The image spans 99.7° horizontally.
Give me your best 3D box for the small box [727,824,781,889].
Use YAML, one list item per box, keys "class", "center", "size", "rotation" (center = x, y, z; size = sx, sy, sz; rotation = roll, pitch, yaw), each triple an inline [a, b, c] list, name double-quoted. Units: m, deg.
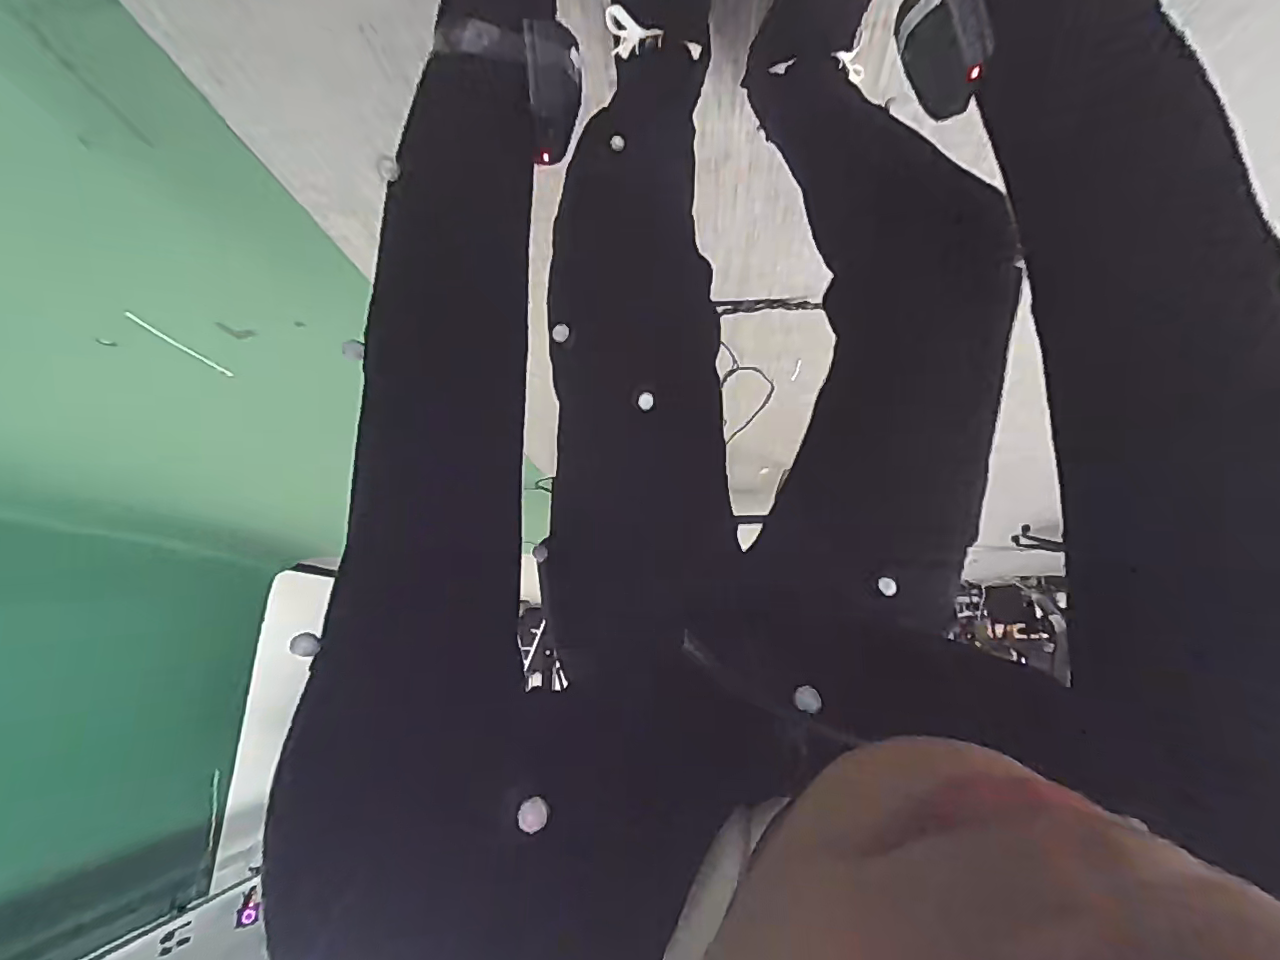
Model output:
- class: "small box"
  center: [0.438, 1.454, 2.097]
  size: [0.179, 0.176, 0.168]
  rotation: [0, 163, 2]
